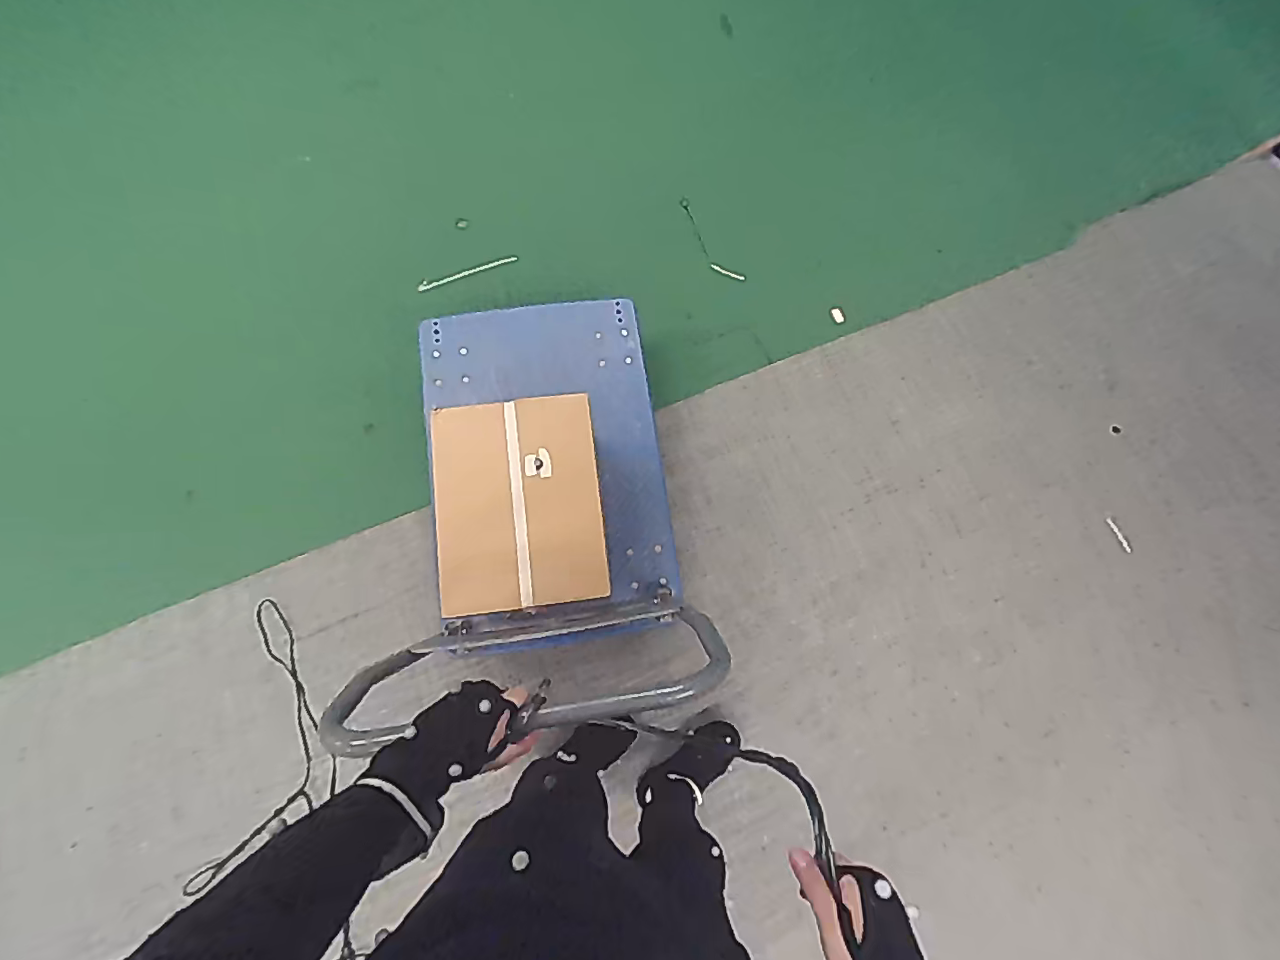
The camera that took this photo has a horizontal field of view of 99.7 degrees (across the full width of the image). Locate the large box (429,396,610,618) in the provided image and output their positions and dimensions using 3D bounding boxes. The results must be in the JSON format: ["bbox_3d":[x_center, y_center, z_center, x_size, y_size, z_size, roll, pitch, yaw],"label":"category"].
[{"bbox_3d":[-0.243,0.073,1.180,0.320,0.320,0.408,-6,78,-5],"label":"large box"}]
